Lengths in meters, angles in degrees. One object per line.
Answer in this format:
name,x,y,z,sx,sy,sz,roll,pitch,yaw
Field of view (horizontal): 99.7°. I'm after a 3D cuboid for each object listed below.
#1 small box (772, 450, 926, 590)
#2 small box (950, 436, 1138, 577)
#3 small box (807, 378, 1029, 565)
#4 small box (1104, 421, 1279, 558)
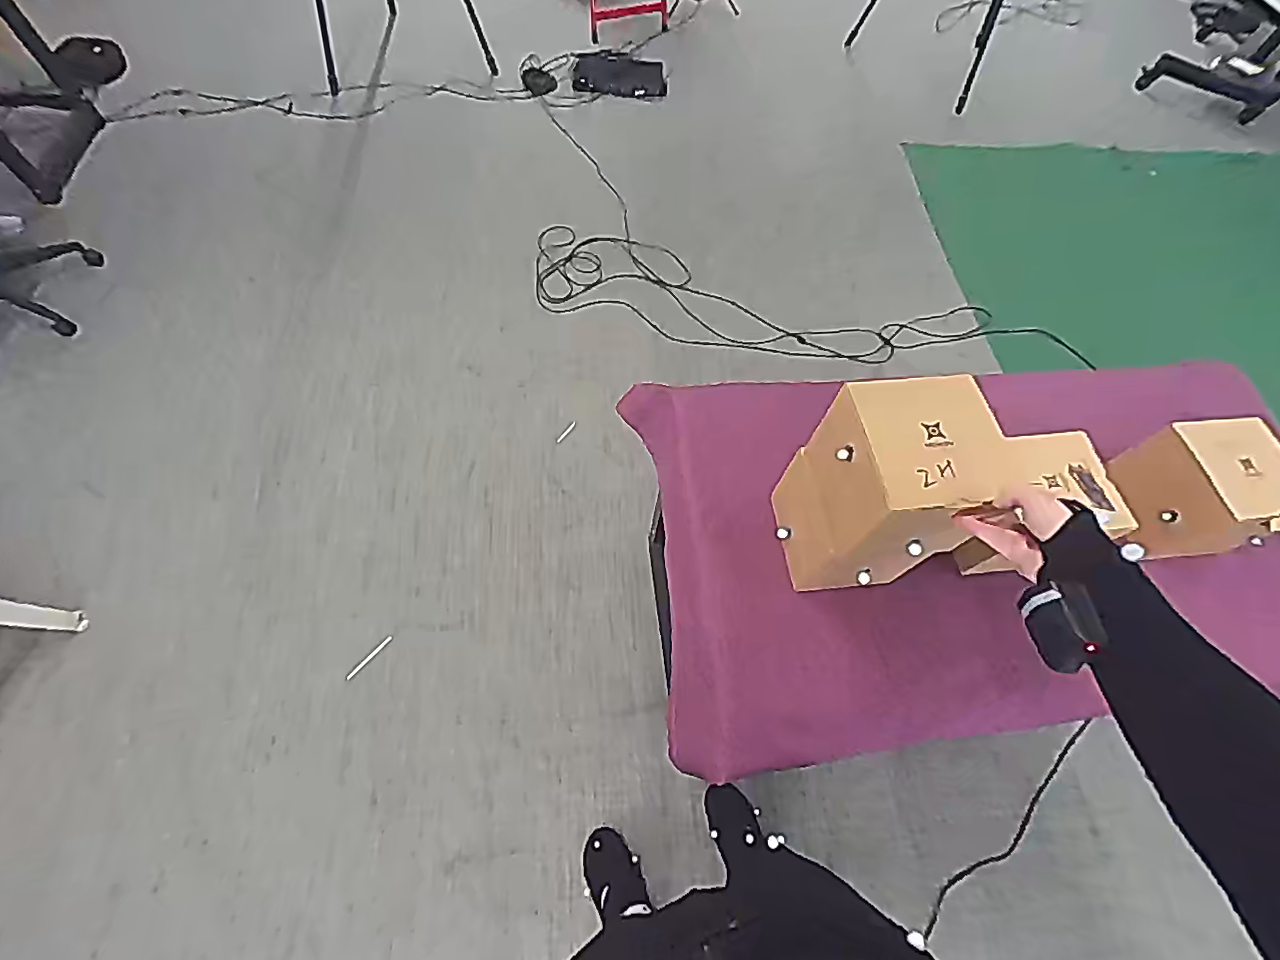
small box,0.320,0.065,0.837,0.168,0.176,0.179,-4,62,-7
small box,0.610,0.047,0.865,0.179,0.176,0.168,-5,62,-5
small box,0.331,-0.007,0.690,0.168,0.176,0.179,-5,63,-5
small box,0.928,0.024,0.897,0.168,0.176,0.179,-4,62,-6
